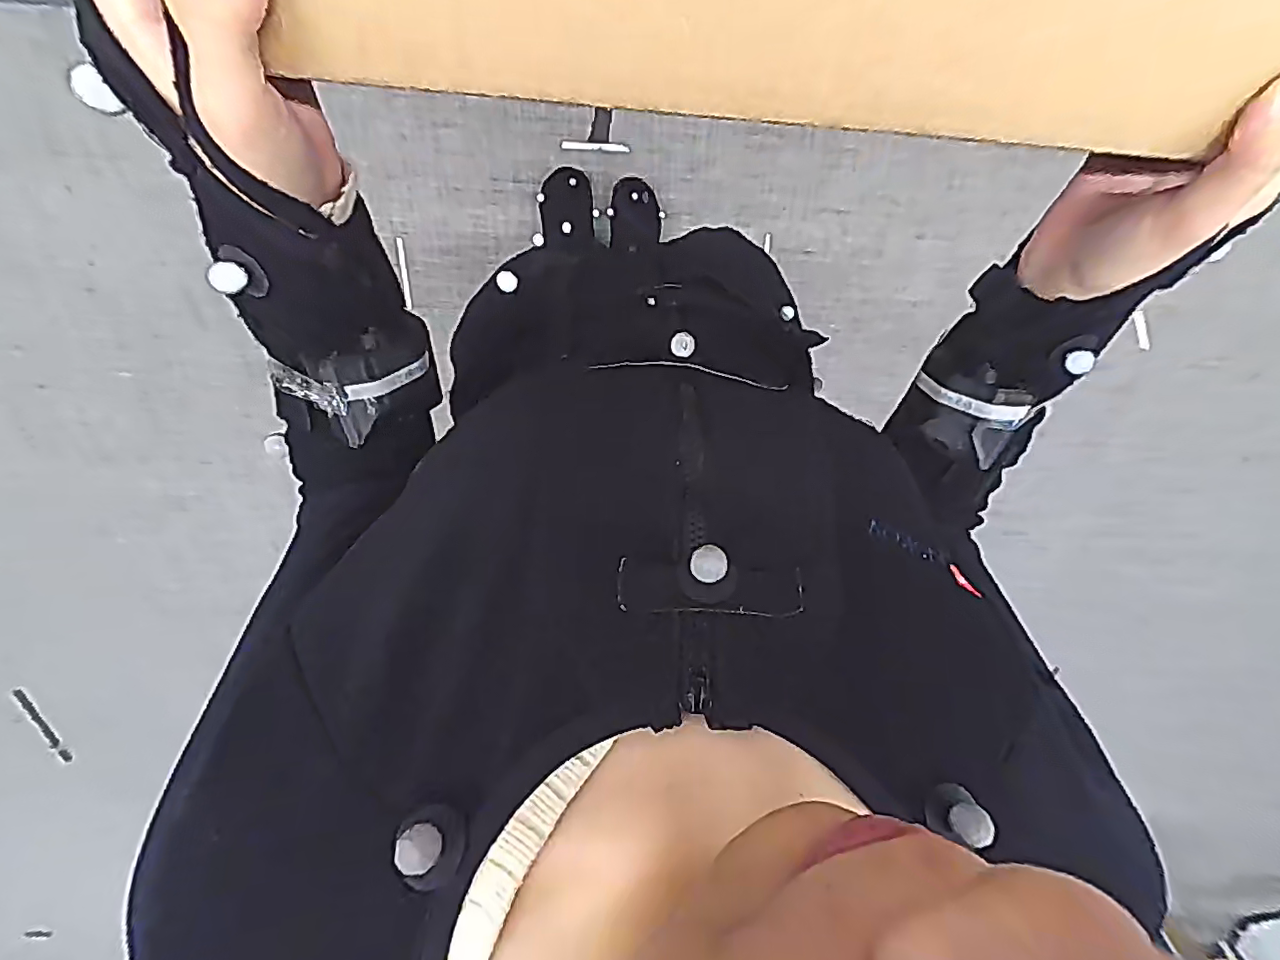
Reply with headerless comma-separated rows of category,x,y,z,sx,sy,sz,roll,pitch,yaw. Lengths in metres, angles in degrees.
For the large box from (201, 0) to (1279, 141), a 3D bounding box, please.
large box,0.058,-0.349,0.181,0.408,0.320,0.320,1,141,-5
